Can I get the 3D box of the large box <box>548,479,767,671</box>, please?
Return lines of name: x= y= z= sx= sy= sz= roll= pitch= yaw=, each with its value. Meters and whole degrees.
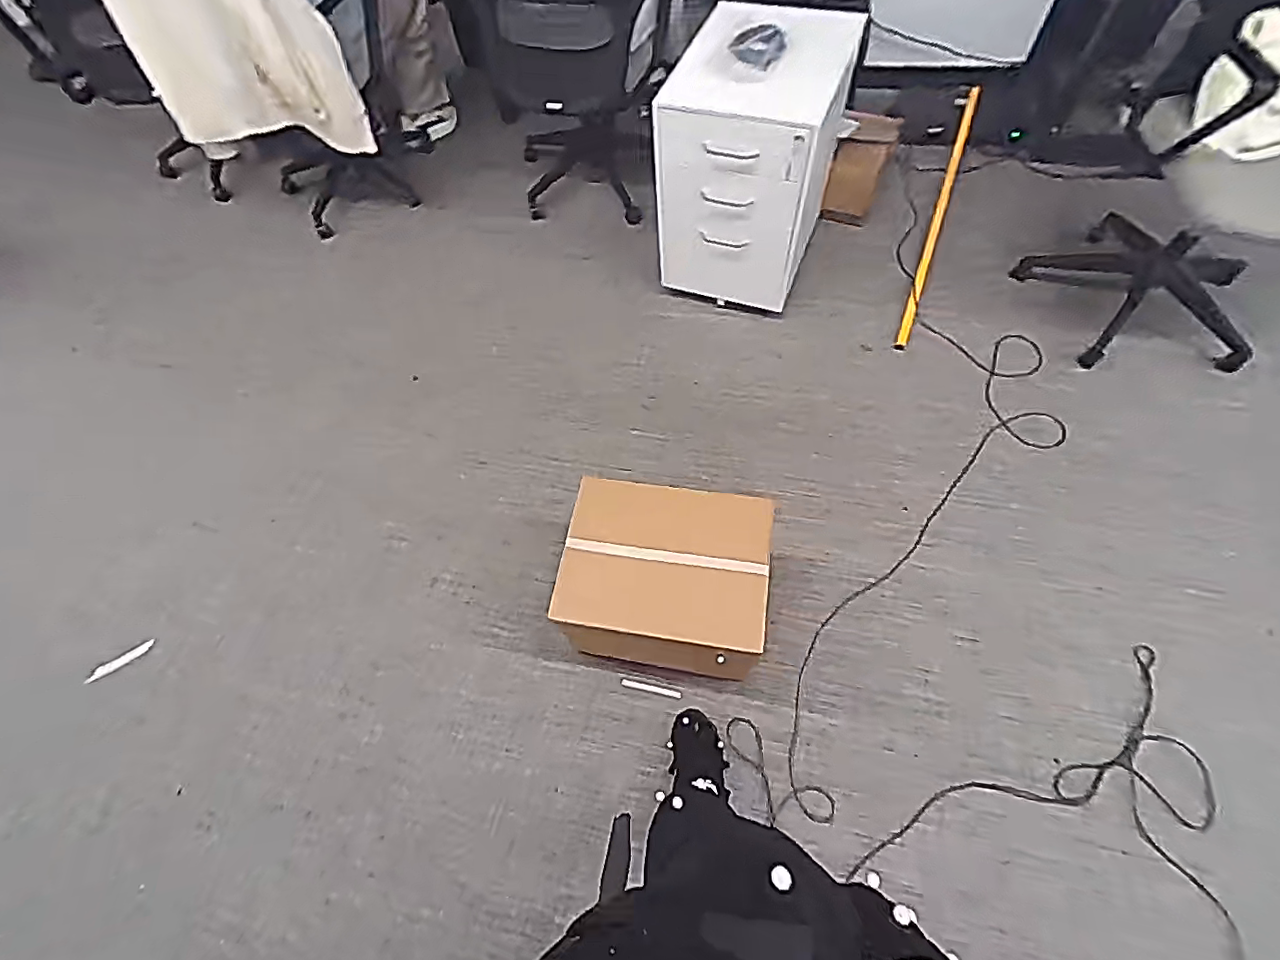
large box: x=0.056 y=0.219 z=1.198 sx=0.408 sy=0.320 sz=0.320 roll=7 pitch=62 yaw=8
